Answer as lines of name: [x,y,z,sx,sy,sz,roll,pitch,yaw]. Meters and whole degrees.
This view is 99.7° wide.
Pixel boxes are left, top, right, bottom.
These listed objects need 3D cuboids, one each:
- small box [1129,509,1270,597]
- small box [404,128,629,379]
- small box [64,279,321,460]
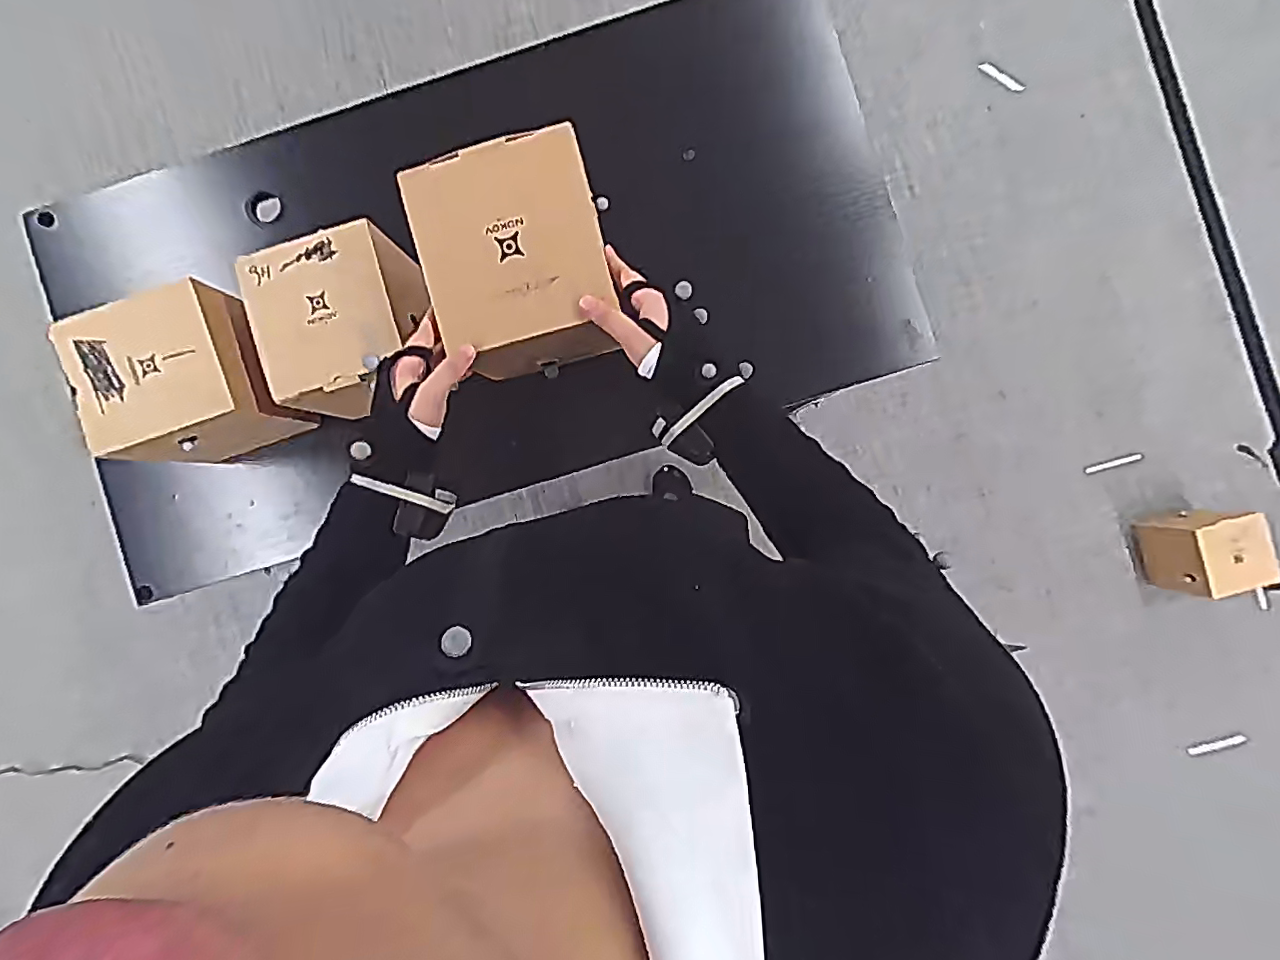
small box: [1.414,0.179,1.378,0.168,0.176,0.179,-15,89,1]
small box: [-0.114,-0.219,0.573,0.168,0.176,0.179,-16,94,4]
small box: [-0.569,-0.130,0.711,0.179,0.176,0.168,-19,89,0]
